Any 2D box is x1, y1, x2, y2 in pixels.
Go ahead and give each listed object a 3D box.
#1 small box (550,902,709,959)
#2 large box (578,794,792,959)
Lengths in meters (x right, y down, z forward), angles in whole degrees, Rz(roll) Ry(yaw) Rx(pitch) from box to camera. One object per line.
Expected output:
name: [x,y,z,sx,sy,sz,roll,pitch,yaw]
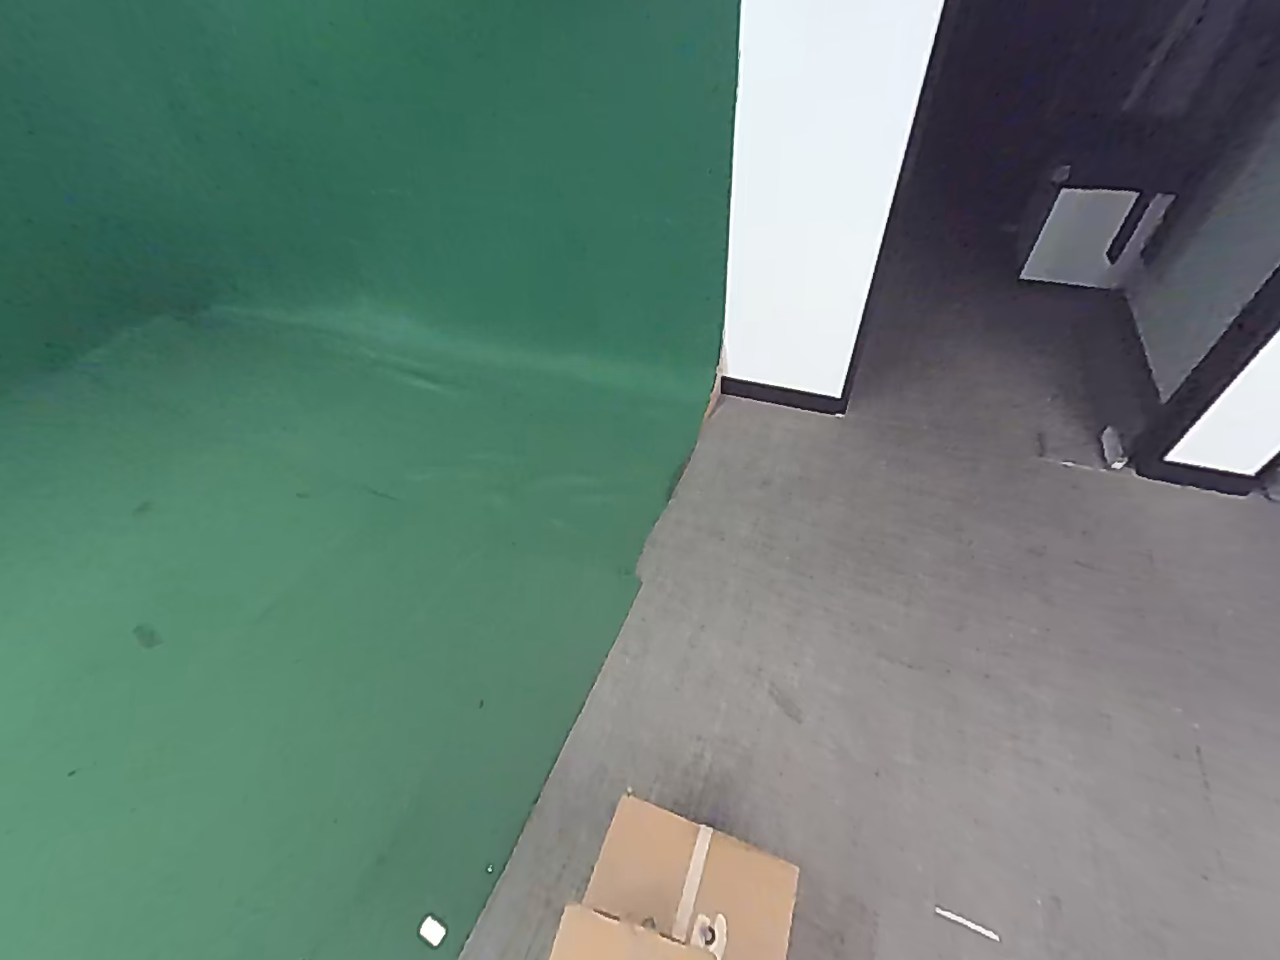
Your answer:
small box: [-0.021,0.588,0.567,0.168,0.176,0.179,11,47,14]
large box: [0.044,0.831,0.896,0.320,0.320,0.408,14,48,17]
